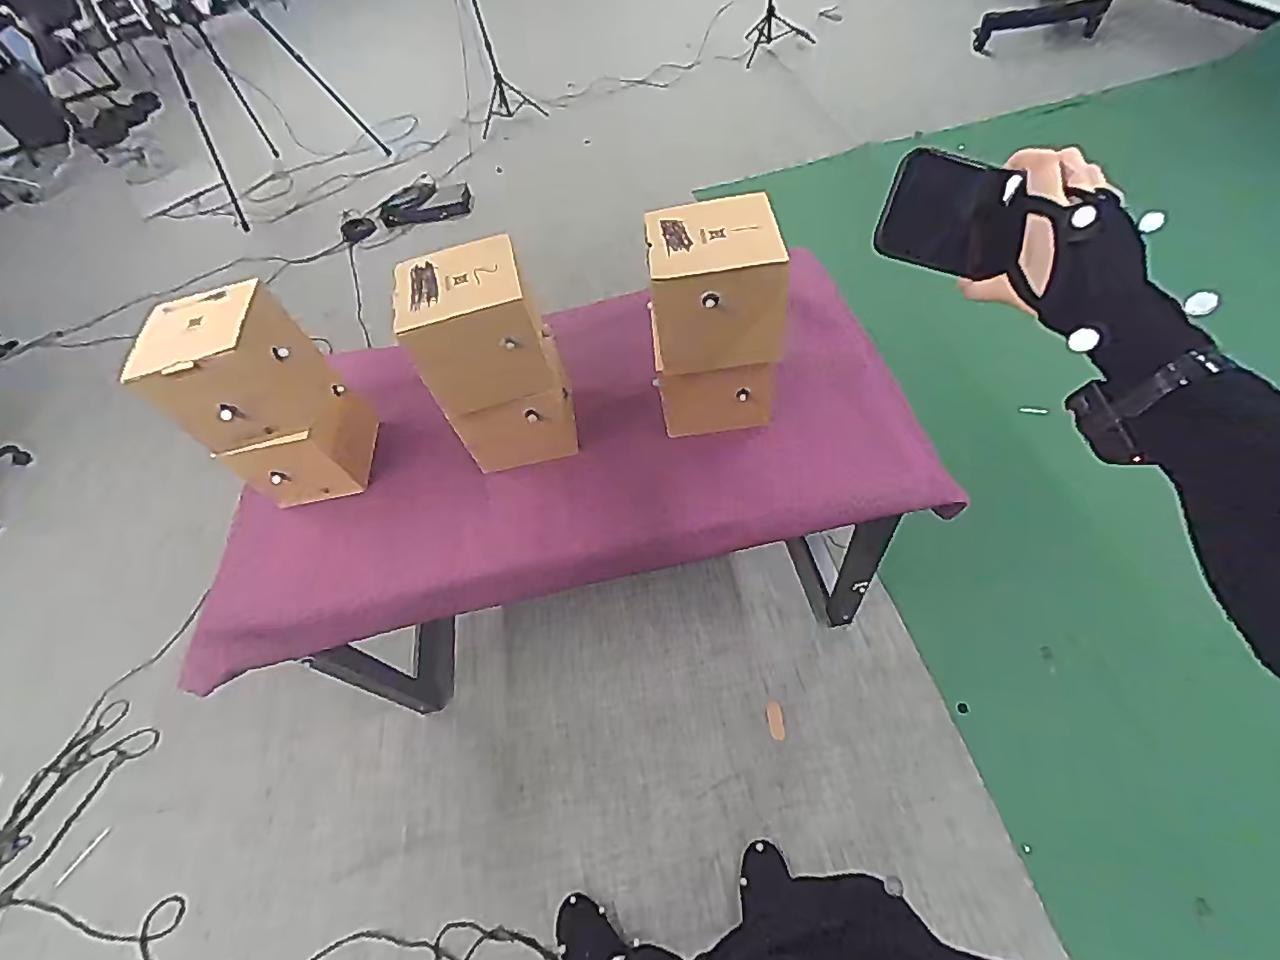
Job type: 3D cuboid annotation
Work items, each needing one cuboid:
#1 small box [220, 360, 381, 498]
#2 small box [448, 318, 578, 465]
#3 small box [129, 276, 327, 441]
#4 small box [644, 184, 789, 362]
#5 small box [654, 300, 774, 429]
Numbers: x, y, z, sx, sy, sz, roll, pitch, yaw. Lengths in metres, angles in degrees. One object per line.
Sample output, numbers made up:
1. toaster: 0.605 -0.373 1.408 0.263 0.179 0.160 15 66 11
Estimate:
1. small box: -0.595 -0.082 0.976 0.168 0.176 0.179 -12 55 3
2. small box: -0.211 -0.148 0.942 0.179 0.176 0.168 -12 55 3
3. small box: -0.623 -0.180 0.847 0.168 0.176 0.179 -15 55 0
4. small box: 0.108 -0.288 0.775 0.179 0.176 0.168 -7 55 6
5. small box: 0.124 -0.207 0.918 0.179 0.176 0.168 -7 55 7
